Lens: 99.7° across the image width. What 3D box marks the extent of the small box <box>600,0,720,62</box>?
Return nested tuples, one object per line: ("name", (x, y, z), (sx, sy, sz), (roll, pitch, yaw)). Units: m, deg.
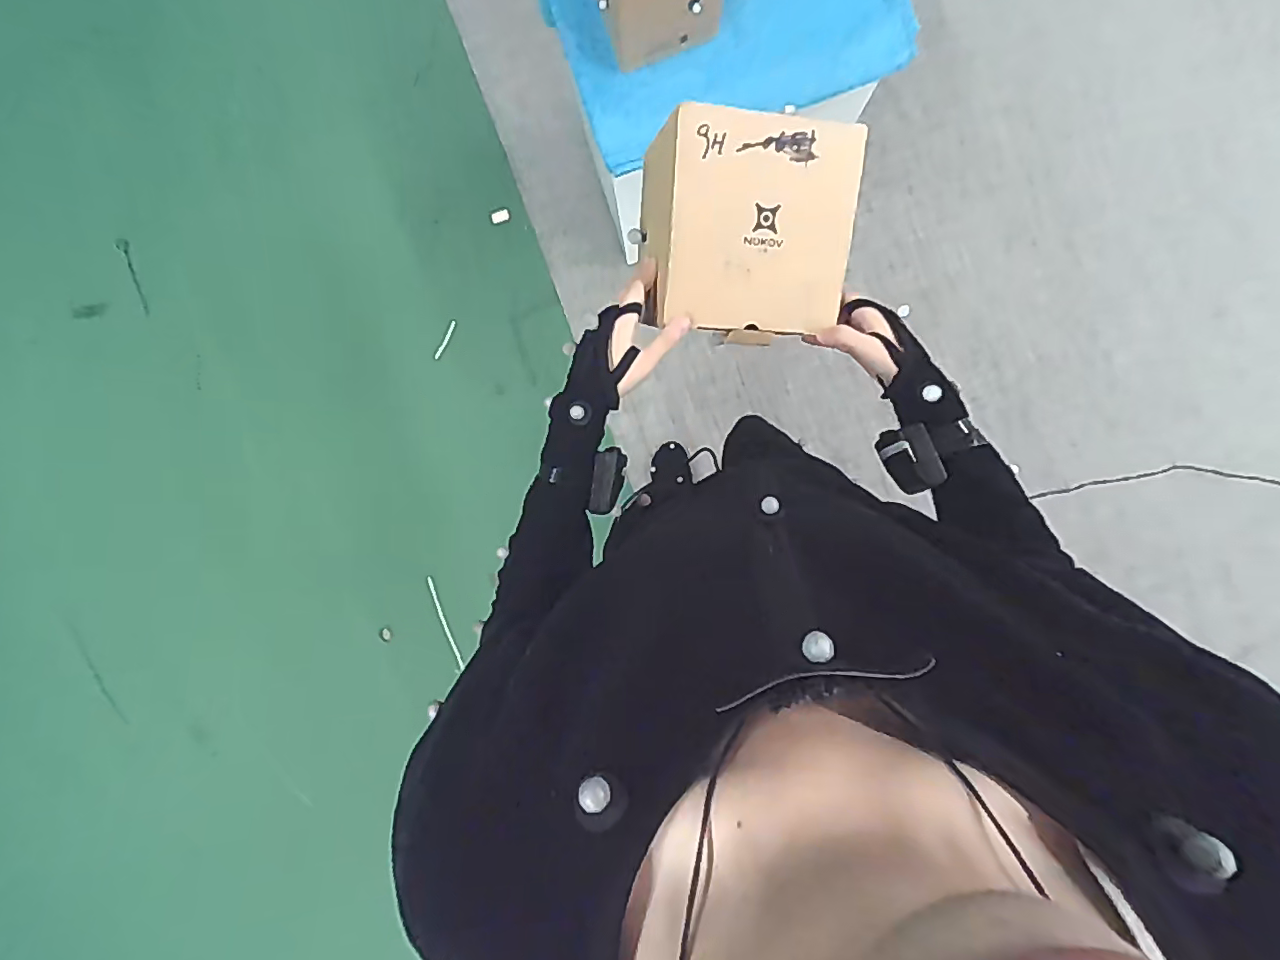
("small box", (0.021, -0.762, 0.790), (0.168, 0.176, 0.179), (-18, 91, 2))
